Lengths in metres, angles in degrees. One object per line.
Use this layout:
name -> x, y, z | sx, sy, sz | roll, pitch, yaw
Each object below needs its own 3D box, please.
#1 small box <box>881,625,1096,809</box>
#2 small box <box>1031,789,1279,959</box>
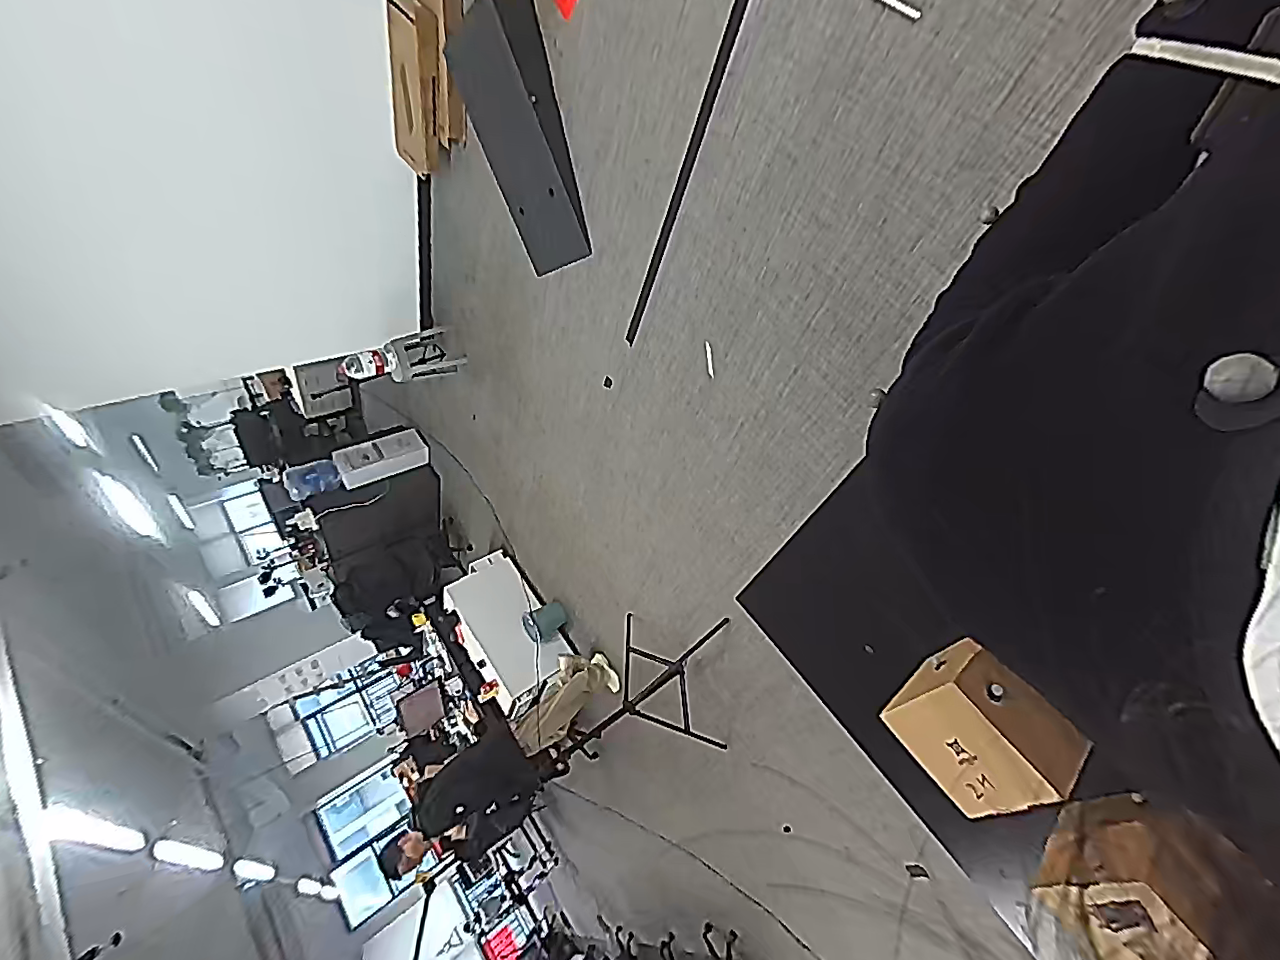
small box -> 0.509, 0.340, 0.799 | 0.179, 0.176, 0.168 | 50, 144, 22
small box -> 0.672, 0.533, 0.702 | 0.179, 0.176, 0.168 | 50, 144, 20
